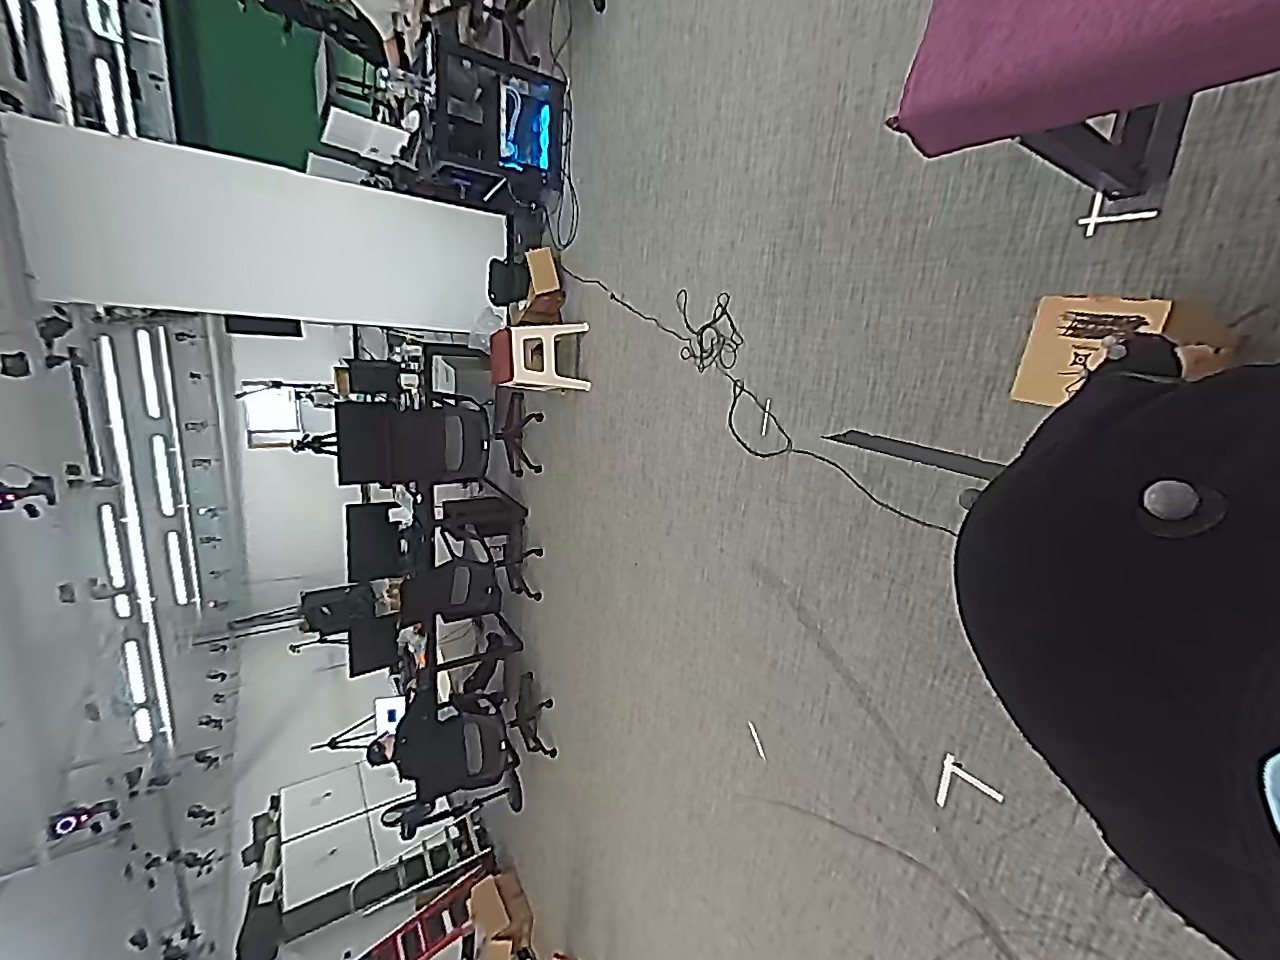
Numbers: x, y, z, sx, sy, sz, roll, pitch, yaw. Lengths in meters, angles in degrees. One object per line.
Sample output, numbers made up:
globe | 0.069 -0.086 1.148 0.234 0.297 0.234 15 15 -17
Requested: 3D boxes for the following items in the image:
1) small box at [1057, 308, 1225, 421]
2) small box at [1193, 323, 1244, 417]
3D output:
small box | 0.900 -0.208 0.972 0.168 0.176 0.179 27 117 52
small box | 1.033 -0.226 1.068 0.168 0.176 0.179 33 122 49
